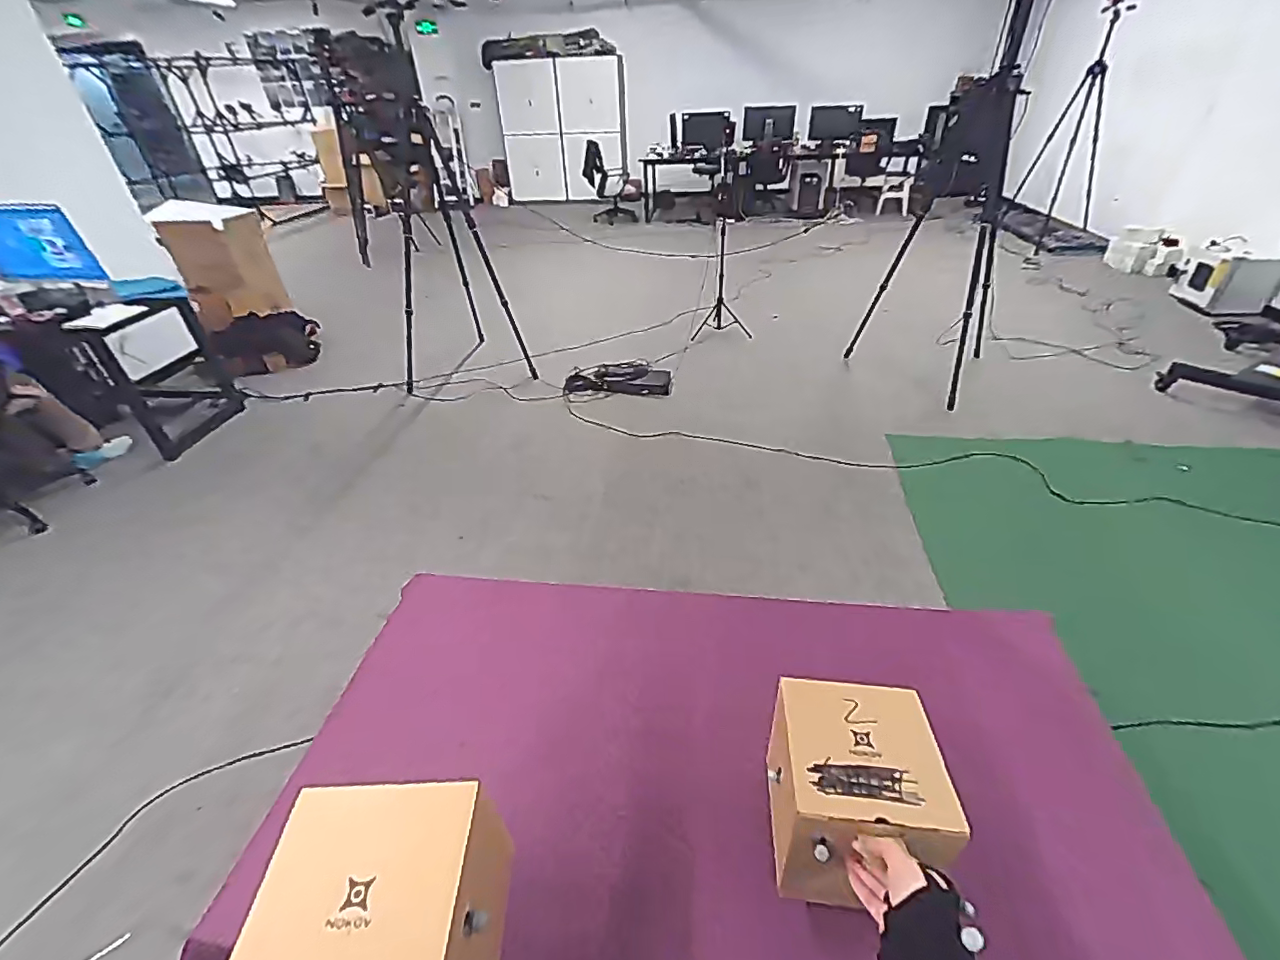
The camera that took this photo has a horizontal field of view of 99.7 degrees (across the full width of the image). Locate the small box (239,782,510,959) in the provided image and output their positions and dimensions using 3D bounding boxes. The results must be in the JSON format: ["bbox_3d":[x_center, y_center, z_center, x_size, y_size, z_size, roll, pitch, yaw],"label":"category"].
[{"bbox_3d":[-0.224,0.404,0.495,0.168,0.176,0.179,-3,41,1],"label":"small box"}]
